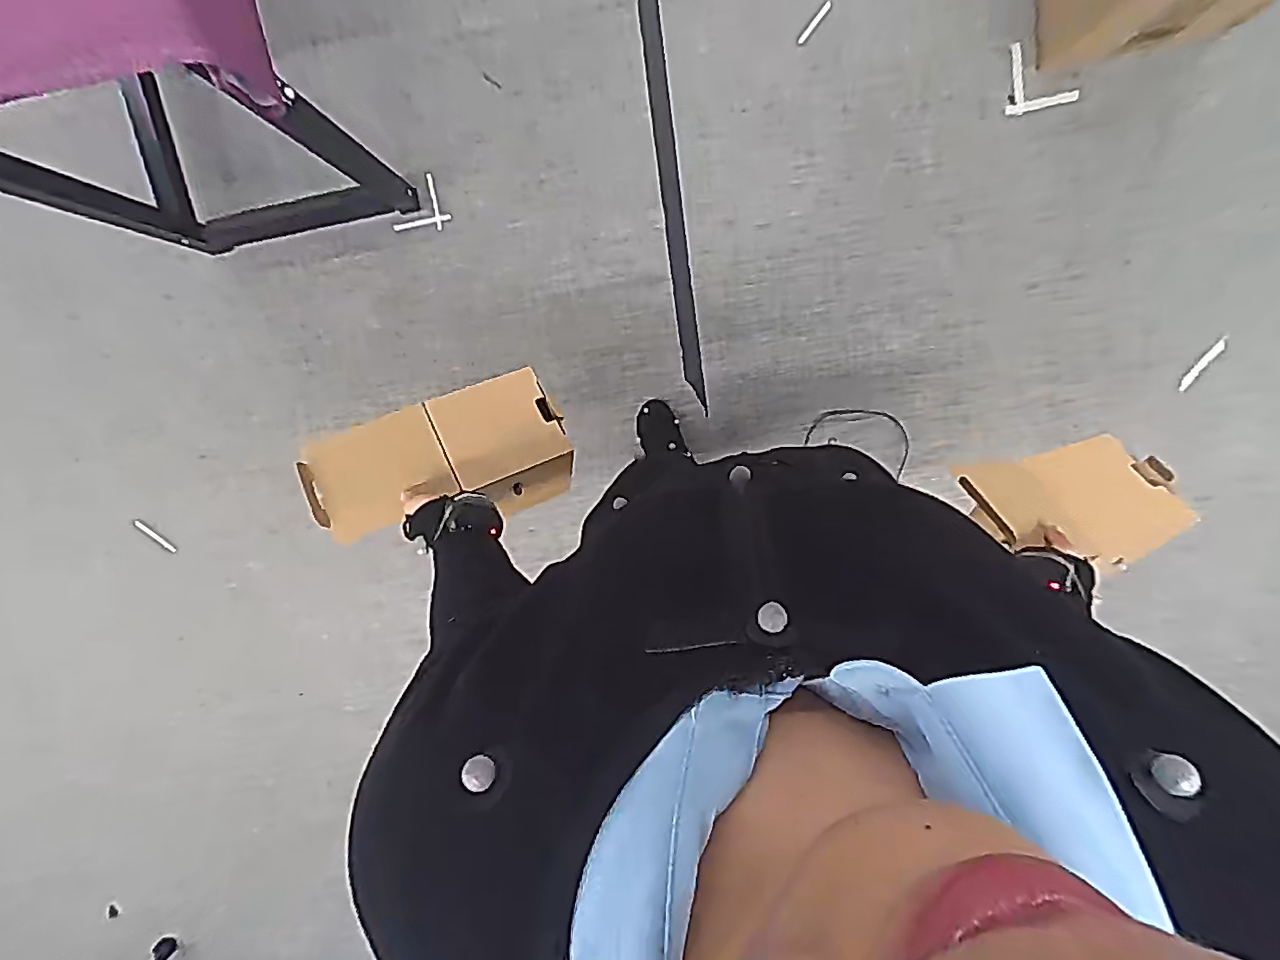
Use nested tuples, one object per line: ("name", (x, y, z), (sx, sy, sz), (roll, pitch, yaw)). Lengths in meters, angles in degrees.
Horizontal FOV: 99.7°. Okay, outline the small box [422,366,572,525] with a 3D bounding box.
("small box", (-0.222, -0.047, 0.870), (0.179, 0.176, 0.168), (-23, 74, -18))
